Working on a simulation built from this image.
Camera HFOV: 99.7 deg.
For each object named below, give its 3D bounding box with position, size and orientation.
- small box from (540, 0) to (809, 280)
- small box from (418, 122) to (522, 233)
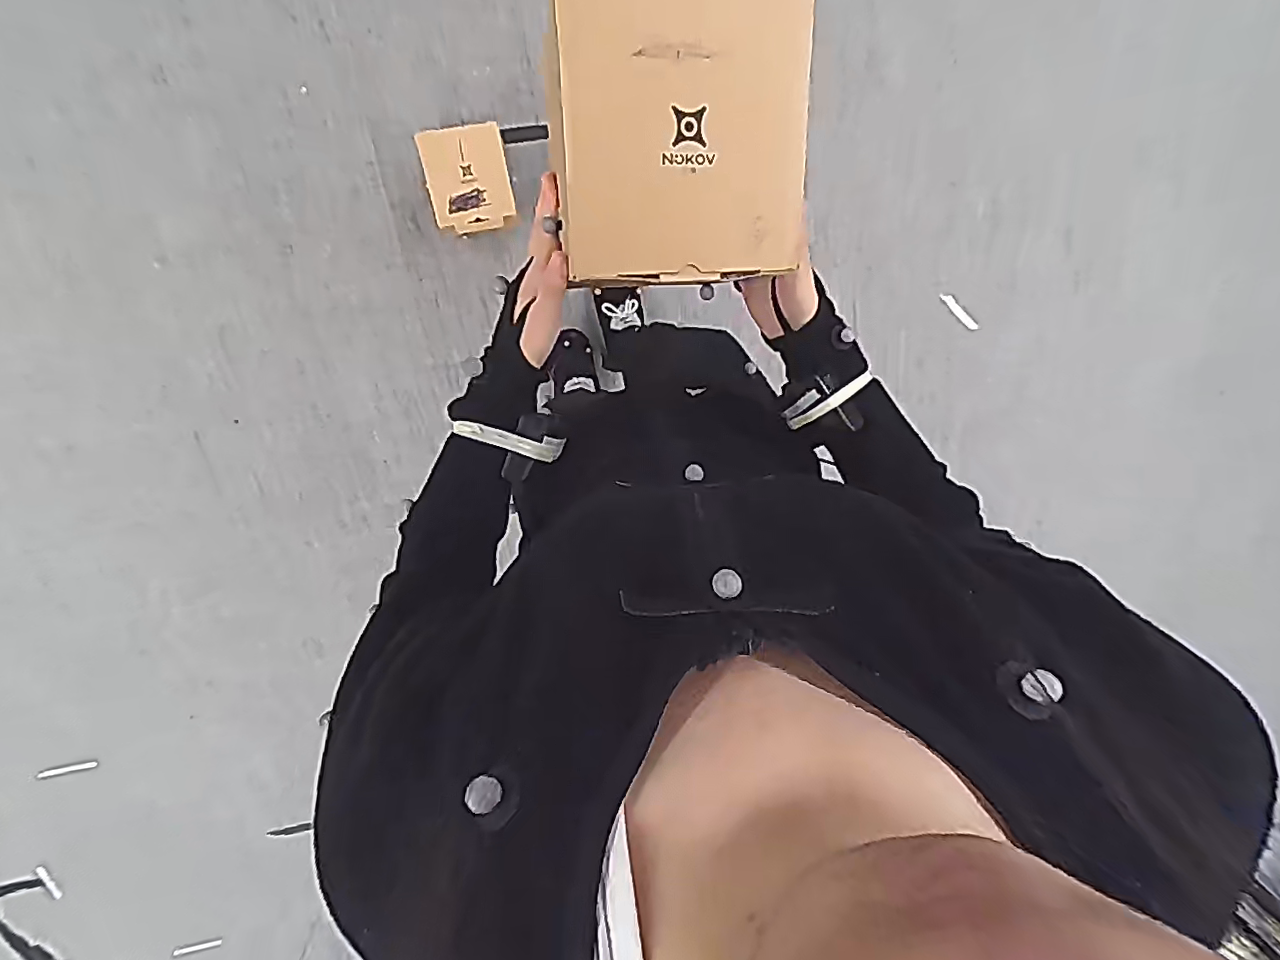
[{"bbox_3d":[0.014,-0.252,0.422,0.168,0.176,0.179,-7,108,-10],"label":"small box"},{"bbox_3d":[-0.358,-0.644,1.173,0.168,0.176,0.179,-12,109,-5],"label":"small box"}]
